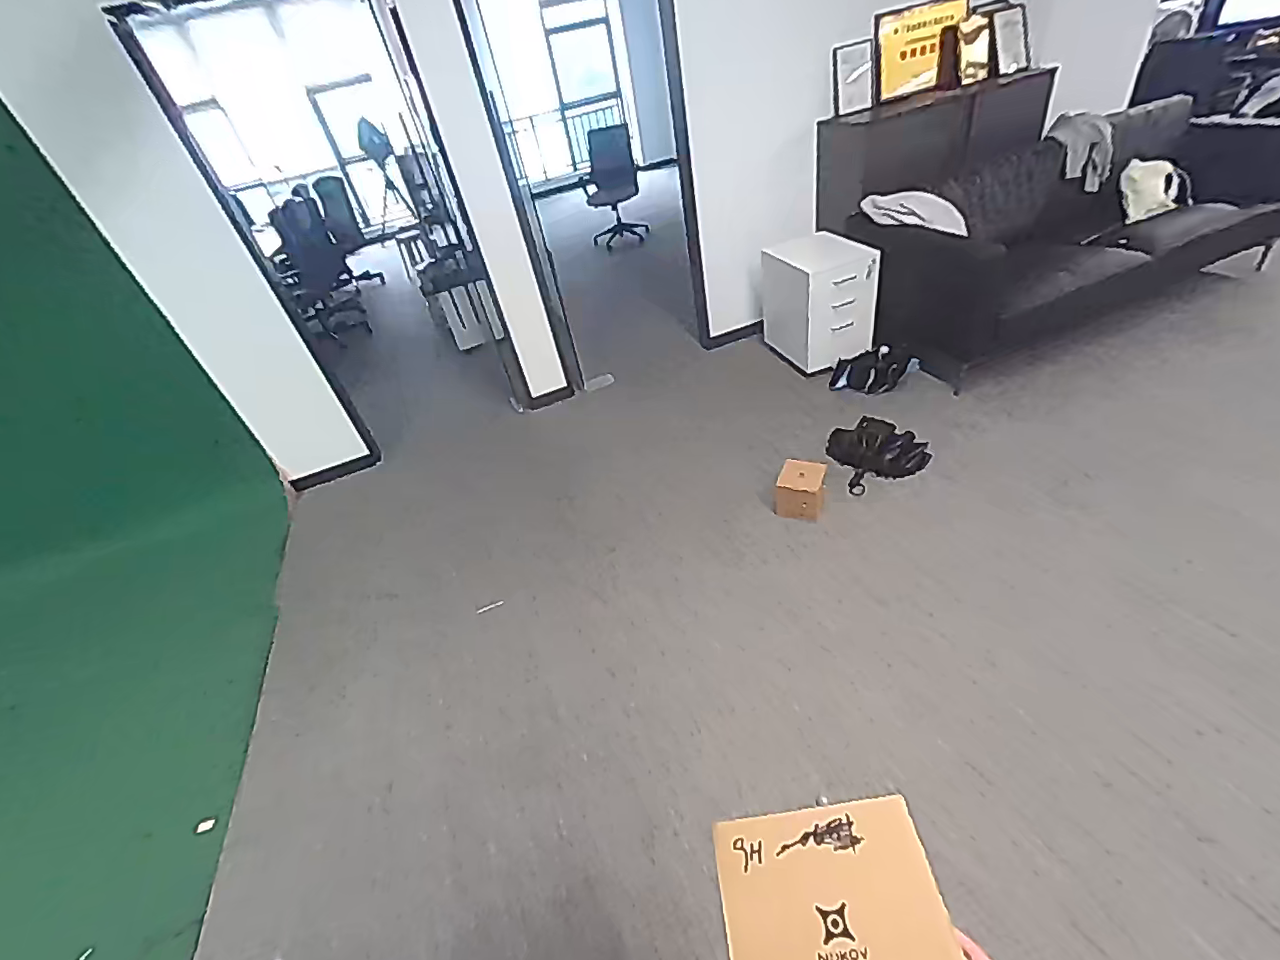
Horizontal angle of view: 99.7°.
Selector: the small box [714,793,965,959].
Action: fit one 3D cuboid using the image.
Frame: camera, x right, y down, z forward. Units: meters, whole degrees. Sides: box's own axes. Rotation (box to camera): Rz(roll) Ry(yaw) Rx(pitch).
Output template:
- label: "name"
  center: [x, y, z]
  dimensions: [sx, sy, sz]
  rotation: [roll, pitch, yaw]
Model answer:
- label: "small box"
  center: [0.167, 0.393, 0.452]
  dimensions: [0.168, 0.176, 0.179]
  rotation: [-12, 41, 7]
